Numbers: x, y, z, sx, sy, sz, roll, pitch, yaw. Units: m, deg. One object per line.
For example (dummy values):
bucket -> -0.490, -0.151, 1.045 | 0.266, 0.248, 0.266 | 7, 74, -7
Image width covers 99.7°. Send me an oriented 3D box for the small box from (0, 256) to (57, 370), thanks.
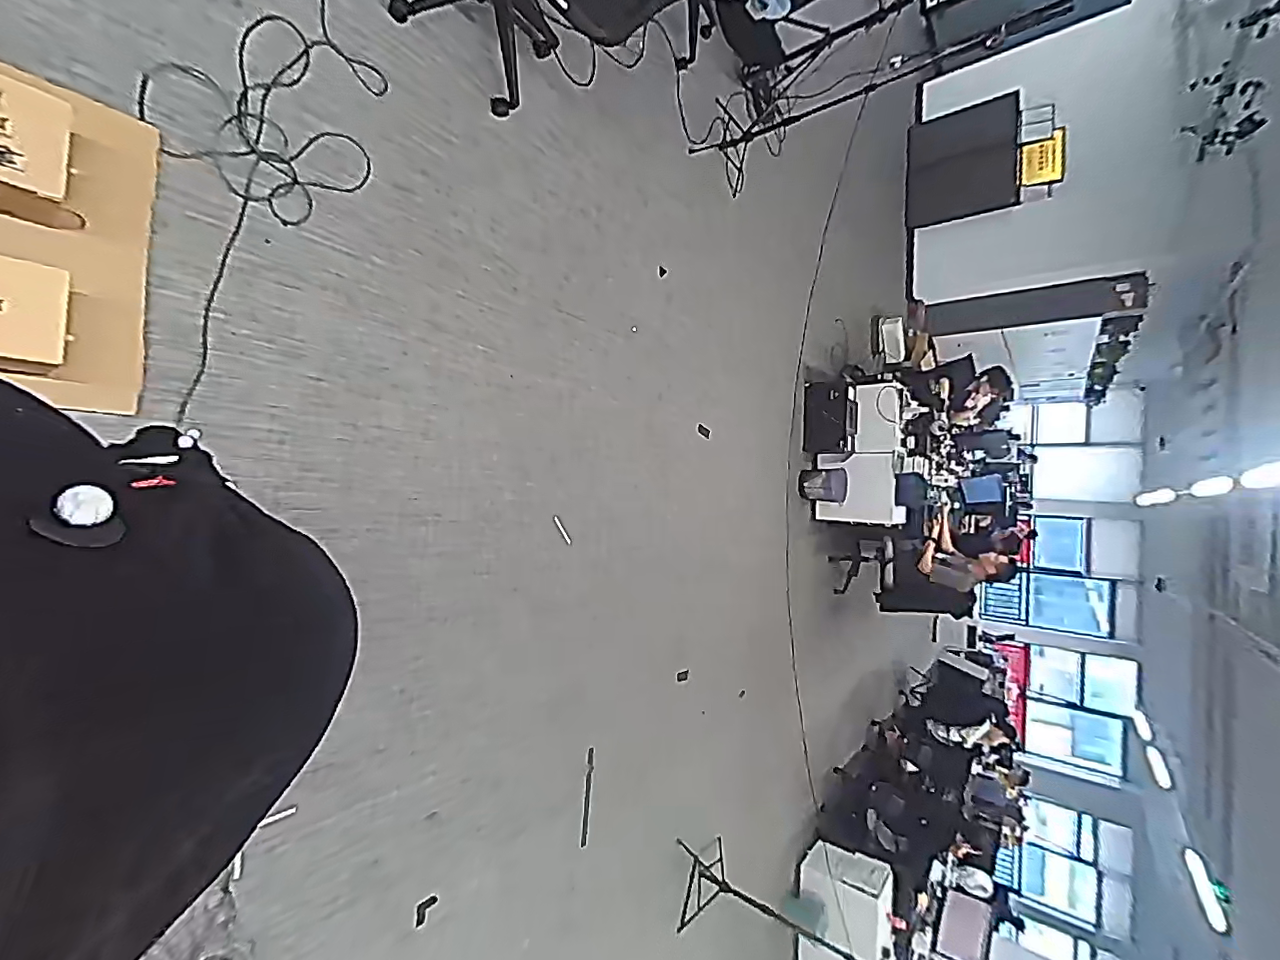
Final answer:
small box -> -1.111, -0.284, 0.898 | 0.179, 0.176, 0.168 | 5, 87, -50
